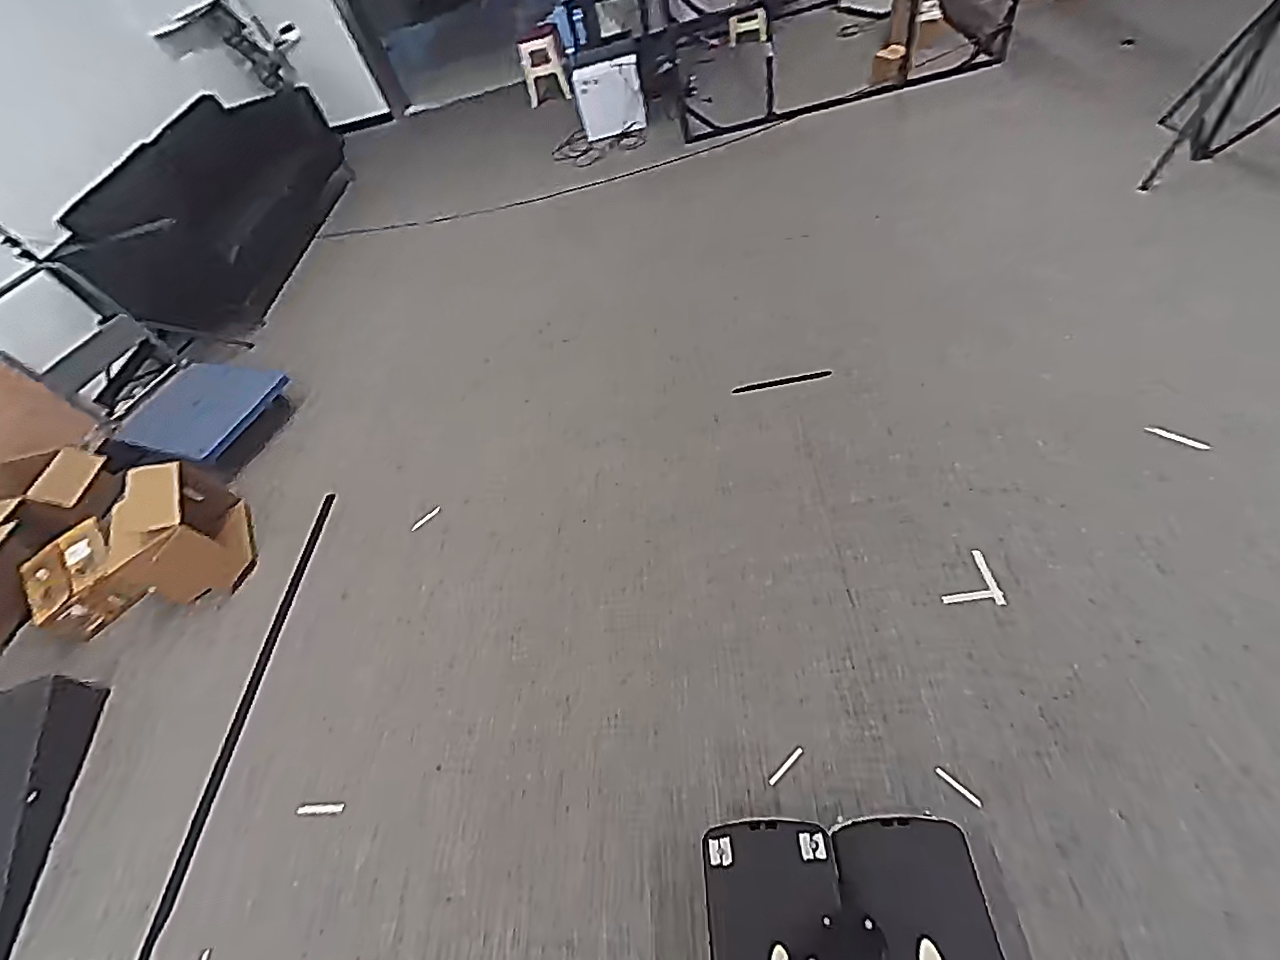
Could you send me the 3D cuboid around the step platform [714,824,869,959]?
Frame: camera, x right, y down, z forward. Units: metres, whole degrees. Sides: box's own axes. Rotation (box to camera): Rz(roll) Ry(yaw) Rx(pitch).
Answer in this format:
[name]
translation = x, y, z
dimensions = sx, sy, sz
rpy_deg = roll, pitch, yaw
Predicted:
[step platform]
translation = 0.321, 1.068, 1.045
dimensions = 0.286, 0.204, 0.684
rpy_deg = -9, 51, 9
